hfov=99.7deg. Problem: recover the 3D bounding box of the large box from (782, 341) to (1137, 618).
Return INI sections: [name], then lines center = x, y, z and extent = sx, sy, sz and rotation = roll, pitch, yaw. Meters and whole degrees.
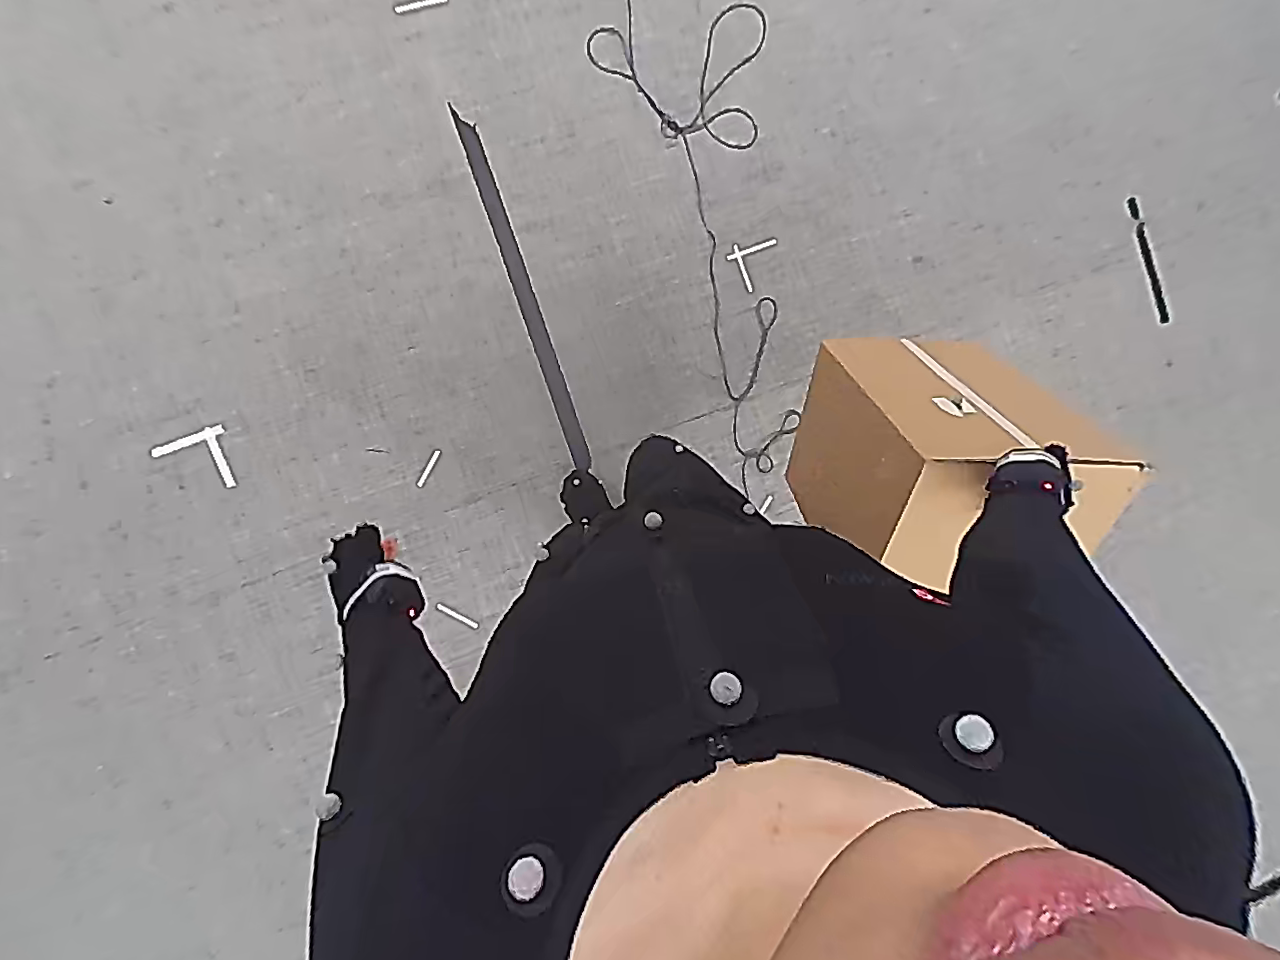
[large box]
center = 0.484, -0.014, 0.947
extent = 0.320, 0.408, 0.320
rotation = 1, 127, -6
